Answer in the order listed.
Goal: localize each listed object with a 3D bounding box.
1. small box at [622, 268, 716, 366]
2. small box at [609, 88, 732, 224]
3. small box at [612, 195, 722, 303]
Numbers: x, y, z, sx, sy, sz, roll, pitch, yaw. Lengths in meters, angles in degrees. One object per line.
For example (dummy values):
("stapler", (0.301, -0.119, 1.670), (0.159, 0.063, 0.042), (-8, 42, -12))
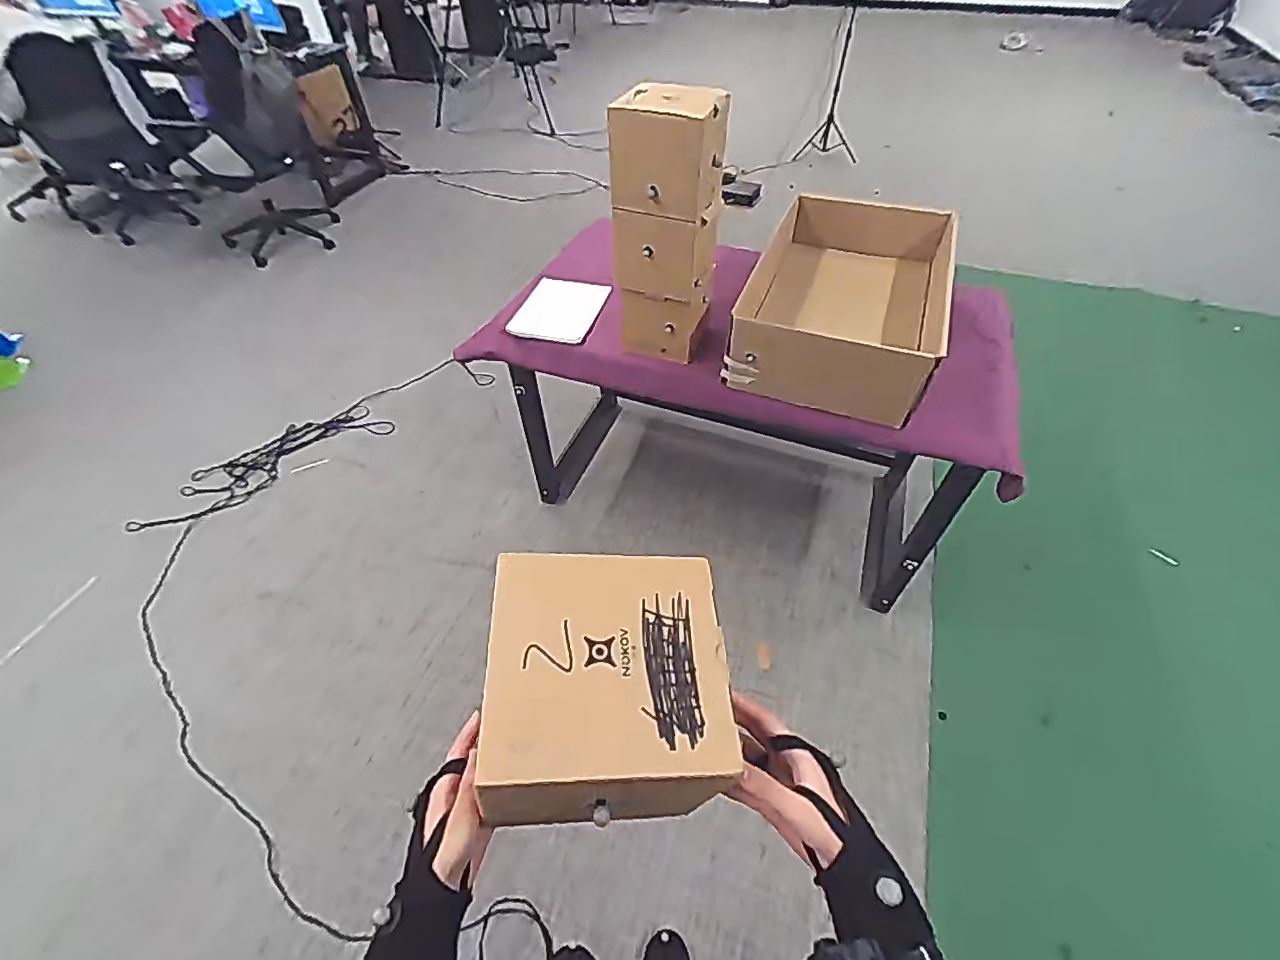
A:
("small box", (0.069, -0.391, 1.260), (0.168, 0.176, 0.179), (17, 50, 15))
("small box", (0.055, -0.601, 1.009), (0.179, 0.176, 0.168), (17, 50, 14))
("small box", (0.057, -0.493, 1.133), (0.179, 0.176, 0.168), (17, 50, 15))
